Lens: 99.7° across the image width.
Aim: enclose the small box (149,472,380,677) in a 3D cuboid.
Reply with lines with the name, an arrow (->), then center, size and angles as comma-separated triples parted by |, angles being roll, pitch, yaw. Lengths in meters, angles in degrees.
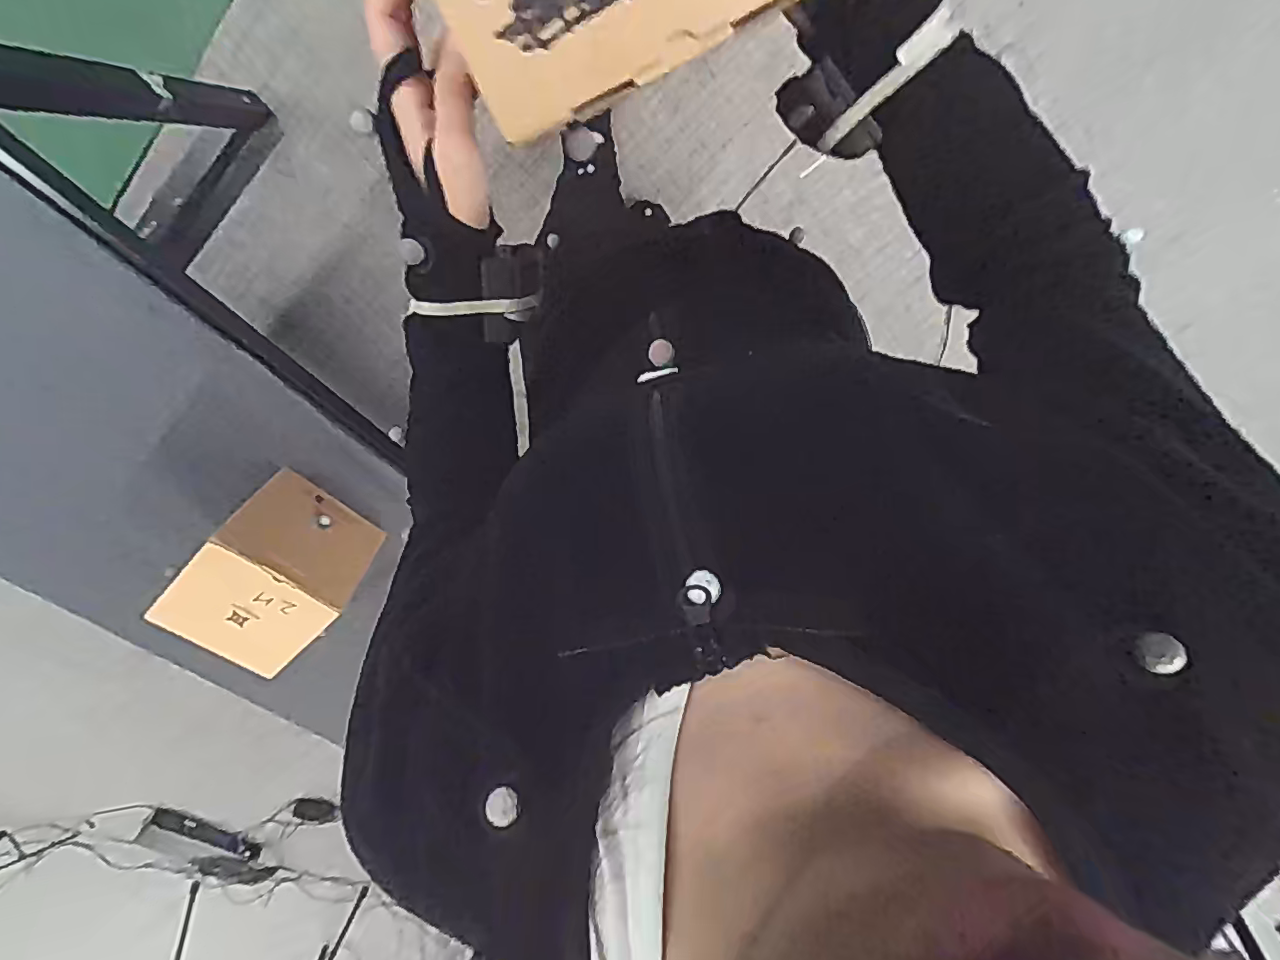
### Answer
small box -> -0.491, 0.125, 0.736 | 0.179, 0.176, 0.168 | -39, 116, 19
